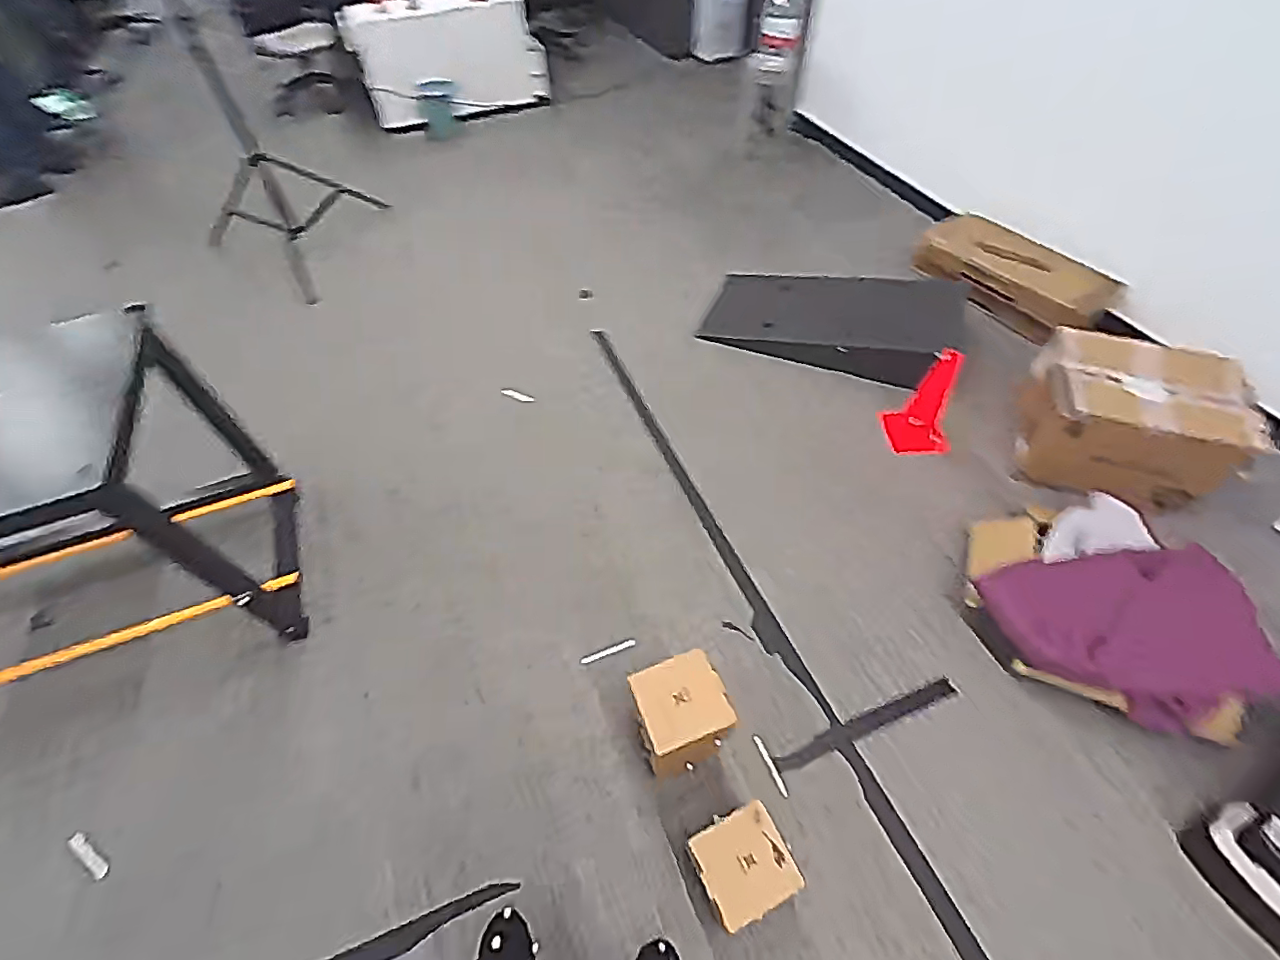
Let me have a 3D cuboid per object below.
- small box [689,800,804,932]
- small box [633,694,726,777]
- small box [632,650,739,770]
[{"bbox_3d":[0.215,0.810,1.138,0.179,0.176,0.168,-22,55,-13],"label":"small box"},{"bbox_3d":[0.092,0.594,1.303,0.168,0.176,0.179,-18,54,-11],"label":"small box"},{"bbox_3d":[0.094,0.500,1.170,0.179,0.176,0.168,-19,54,-11],"label":"small box"}]
